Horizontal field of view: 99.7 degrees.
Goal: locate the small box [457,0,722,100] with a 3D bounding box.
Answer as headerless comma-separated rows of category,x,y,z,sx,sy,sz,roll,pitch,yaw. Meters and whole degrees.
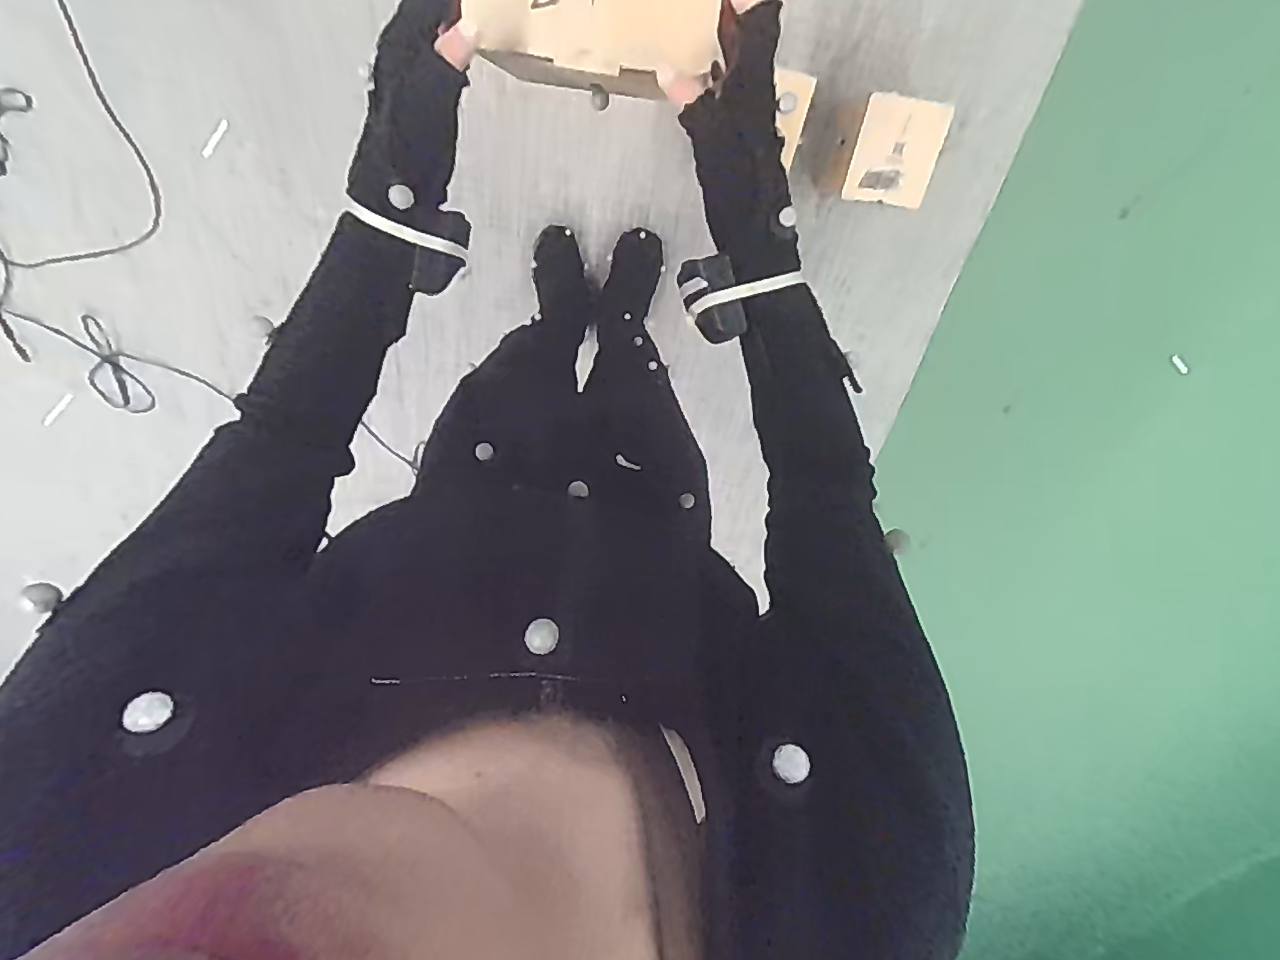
small box,-0.022,-0.386,0.373,0.168,0.176,0.179,7,121,-2

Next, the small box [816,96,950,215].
small box,0.473,-0.649,1.088,0.168,0.176,0.179,6,121,-6

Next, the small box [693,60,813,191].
small box,0.208,-0.685,1.056,0.168,0.176,0.179,8,122,-8
